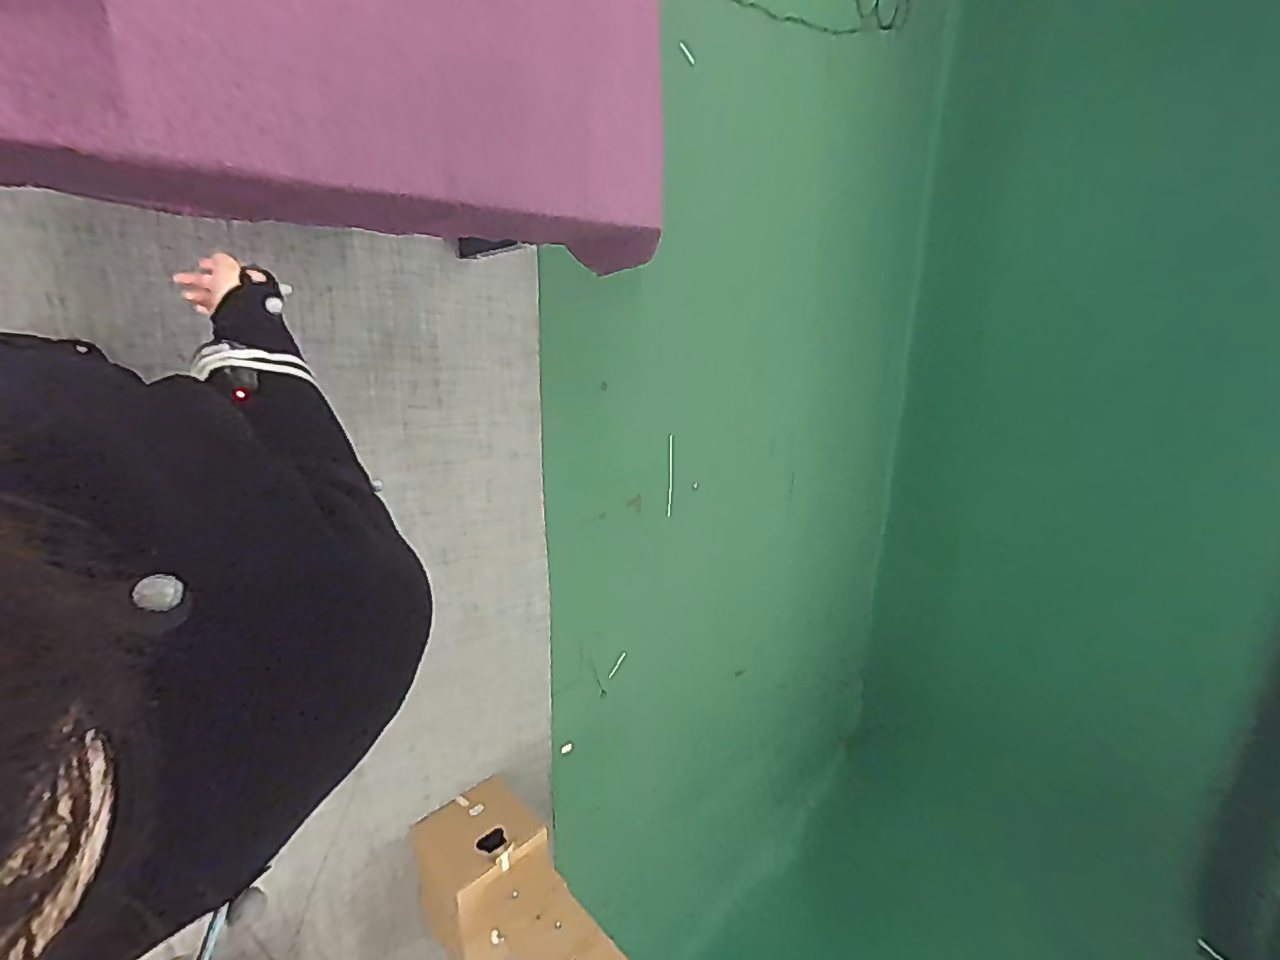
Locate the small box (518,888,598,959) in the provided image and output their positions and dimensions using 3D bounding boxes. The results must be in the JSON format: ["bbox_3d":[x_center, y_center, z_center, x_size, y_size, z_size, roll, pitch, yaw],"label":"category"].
[{"bbox_3d":[-0.228,1.311,1.528,0.168,0.176,0.179,-21,116,-40],"label":"small box"}]

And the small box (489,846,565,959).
[{"bbox_3d":[-0.343,1.274,1.638,0.179,0.176,0.168,-17,113,-43],"label":"small box"}]

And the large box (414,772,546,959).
[{"bbox_3d":[-0.527,1.299,1.812,0.320,0.320,0.408,-15,112,-43],"label":"large box"}]

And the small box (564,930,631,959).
[{"bbox_3d":[-0.113,1.342,1.414,0.168,0.176,0.179,-19,114,-41],"label":"small box"}]
